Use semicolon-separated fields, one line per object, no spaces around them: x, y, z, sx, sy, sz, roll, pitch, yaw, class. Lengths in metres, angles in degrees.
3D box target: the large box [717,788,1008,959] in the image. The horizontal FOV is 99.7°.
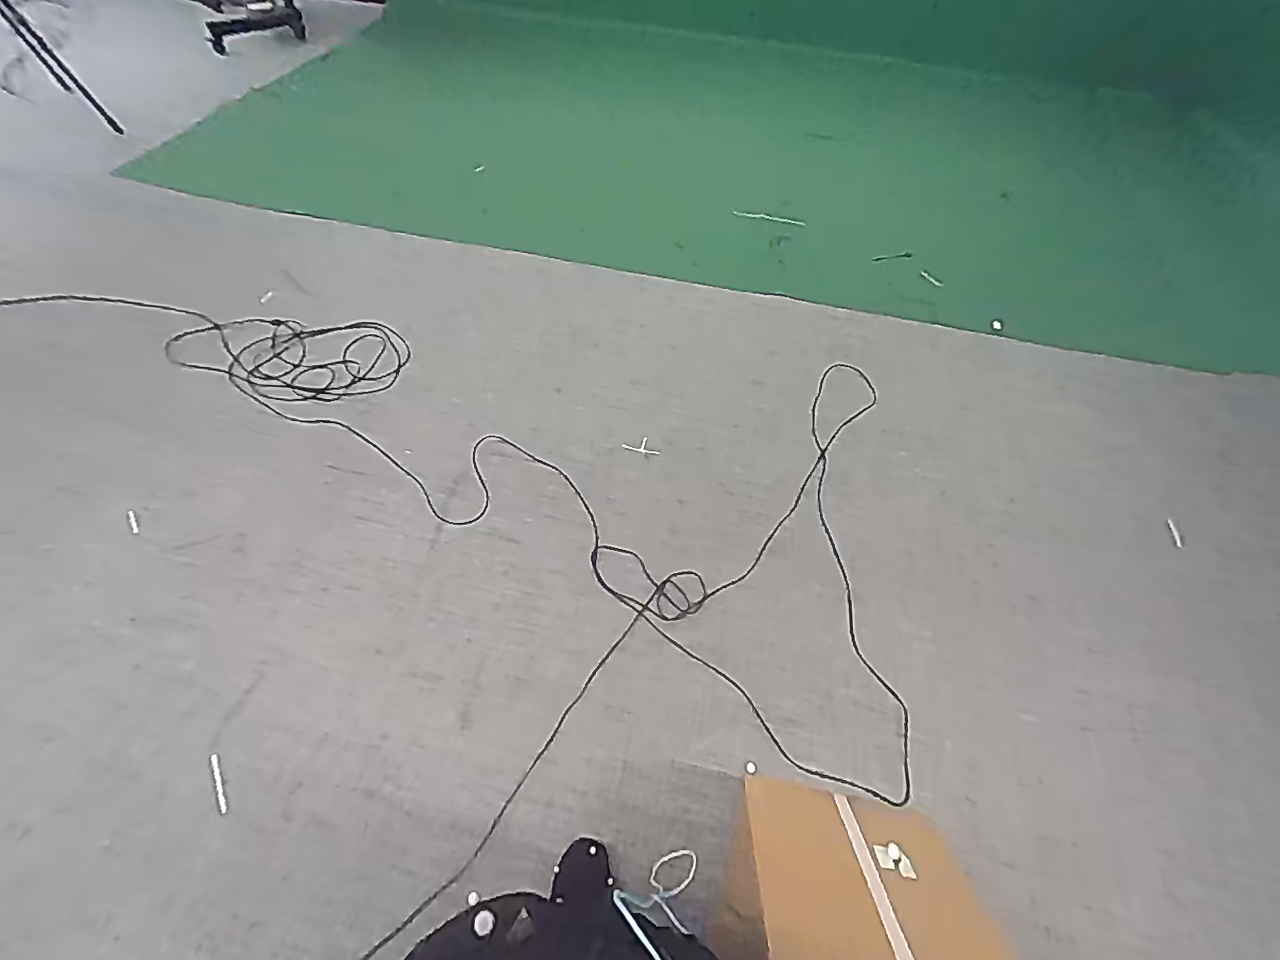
0.283;0.708;0.724;0.320;0.408;0.320;10;94;6;large box
